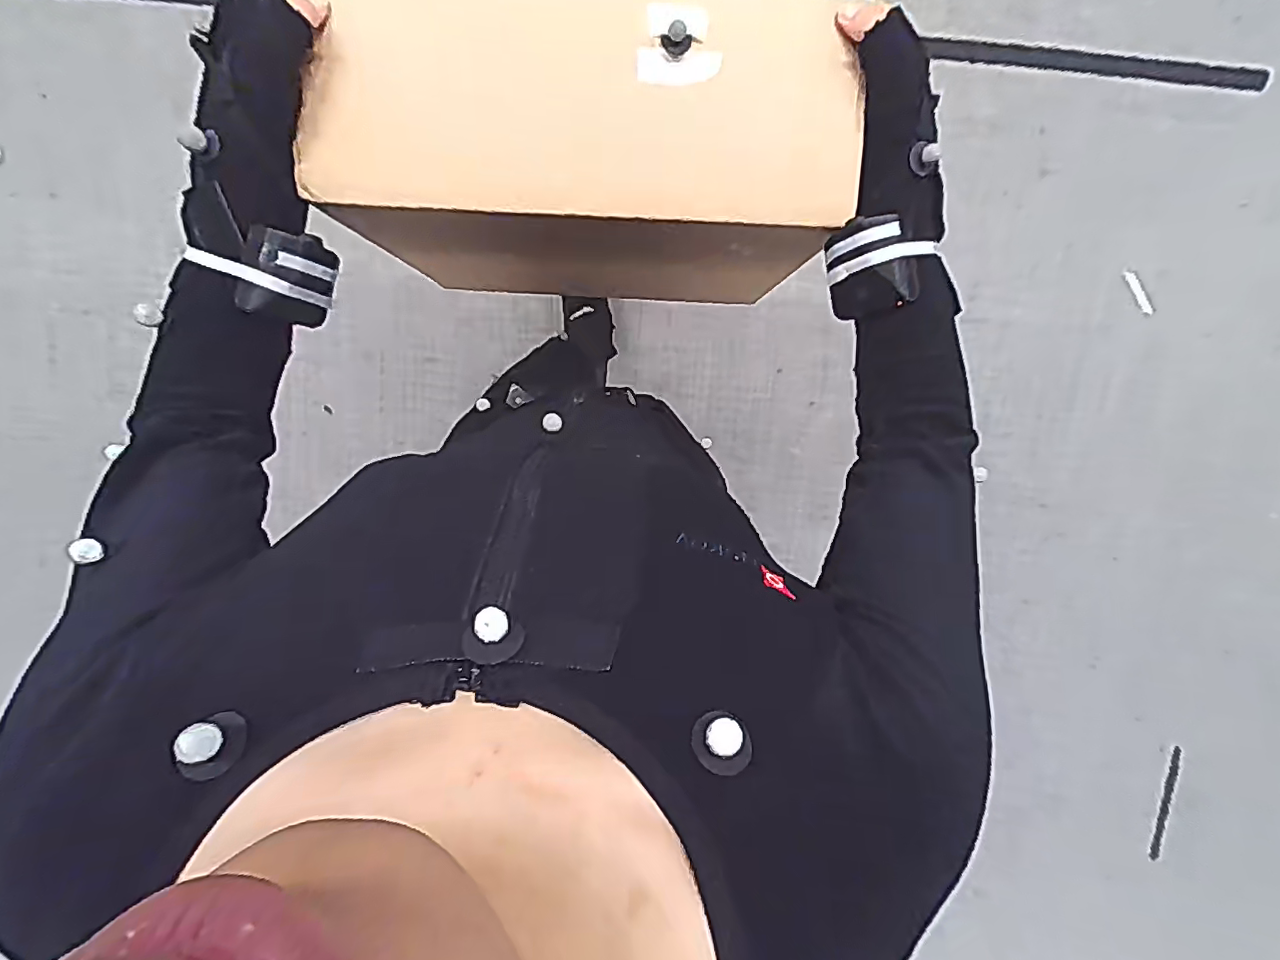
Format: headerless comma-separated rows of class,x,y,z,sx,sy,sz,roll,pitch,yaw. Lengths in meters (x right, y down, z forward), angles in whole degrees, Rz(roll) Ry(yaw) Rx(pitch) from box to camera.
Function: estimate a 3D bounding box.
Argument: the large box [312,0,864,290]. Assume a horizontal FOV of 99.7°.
large box,-0.039,-0.382,0.534,0.408,0.320,0.320,2,98,-2
